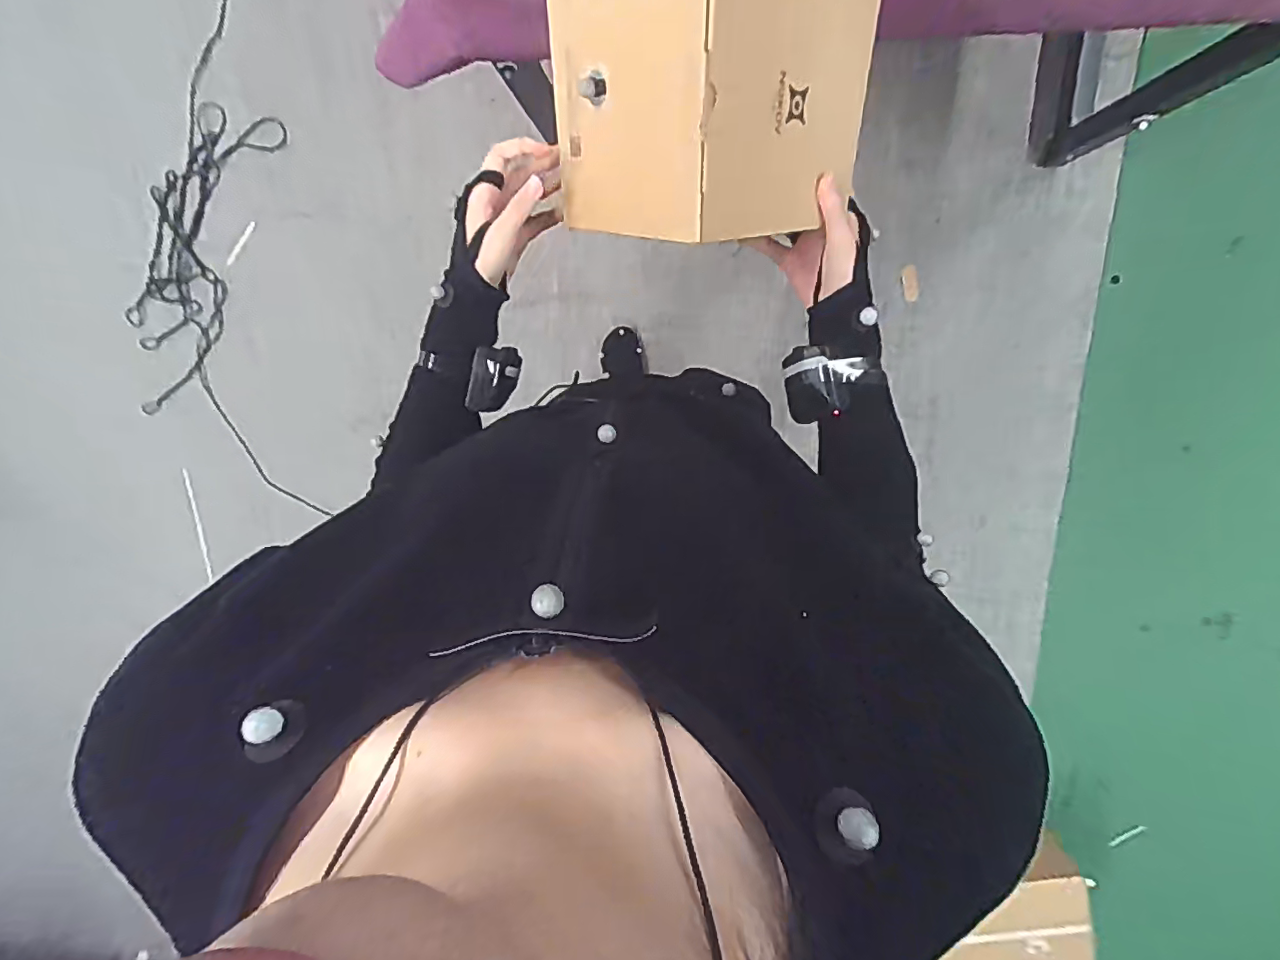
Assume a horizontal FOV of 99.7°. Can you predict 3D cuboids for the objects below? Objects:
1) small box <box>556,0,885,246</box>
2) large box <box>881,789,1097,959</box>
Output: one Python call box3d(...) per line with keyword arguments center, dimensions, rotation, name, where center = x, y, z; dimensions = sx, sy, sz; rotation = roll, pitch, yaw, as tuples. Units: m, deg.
box3d(center=(0.055, -0.287, 0.426), dimensions=(0.179, 0.176, 0.168), rotation=(-22, 127, -33), name="small box")
box3d(center=(0.966, 1.150, 1.538), dimensions=(0.408, 0.320, 0.320), rotation=(-14, 102, 7), name="large box")
